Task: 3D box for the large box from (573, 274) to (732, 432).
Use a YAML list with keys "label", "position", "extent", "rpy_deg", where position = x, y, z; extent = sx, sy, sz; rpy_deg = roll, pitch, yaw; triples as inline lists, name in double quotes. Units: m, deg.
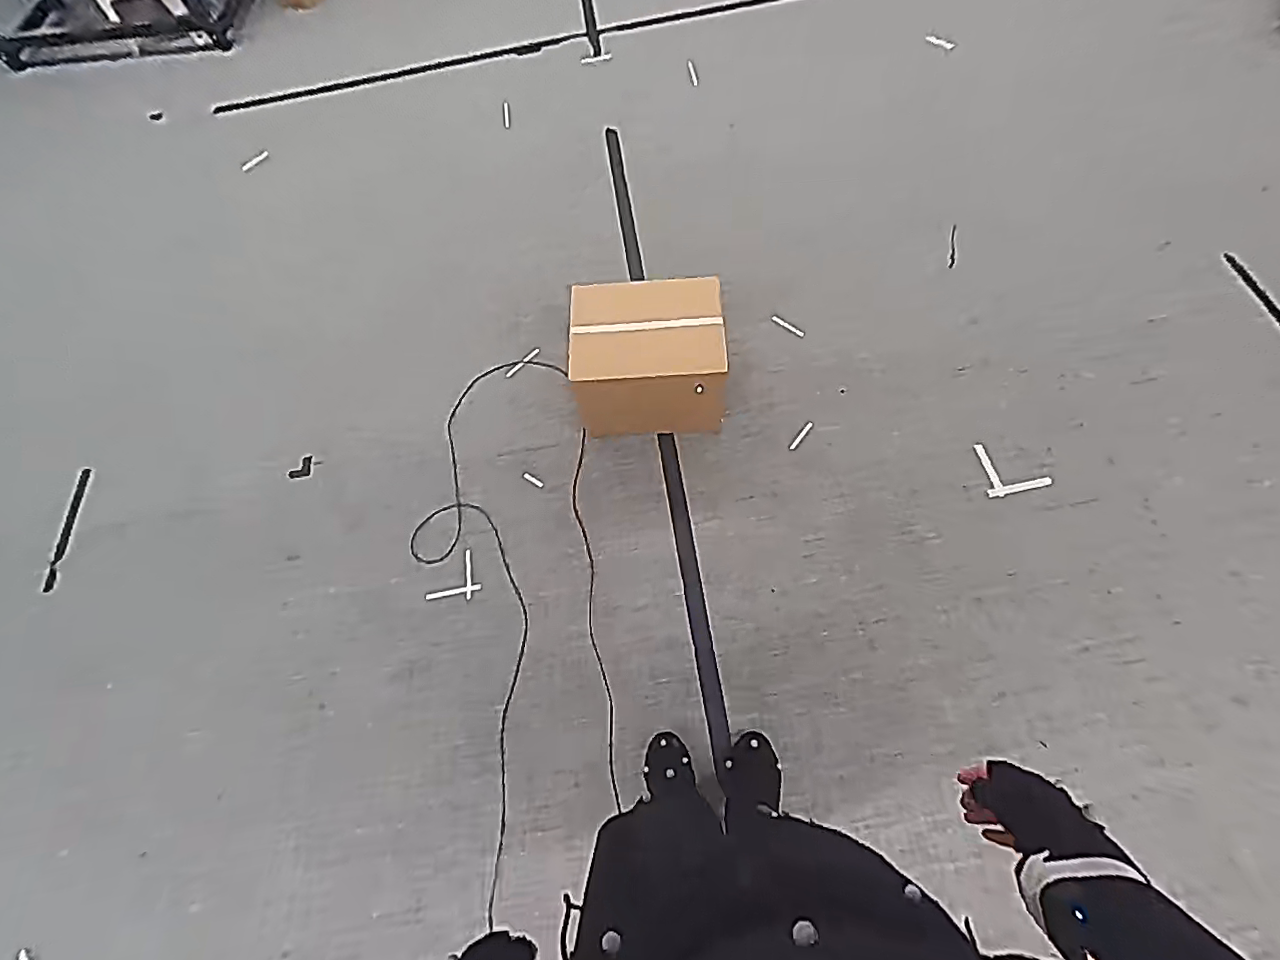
- label: "large box"
  position: [0.038, -0.347, 1.539]
  extent: [0.408, 0.320, 0.320]
  rpy_deg: [-2, 67, 3]
